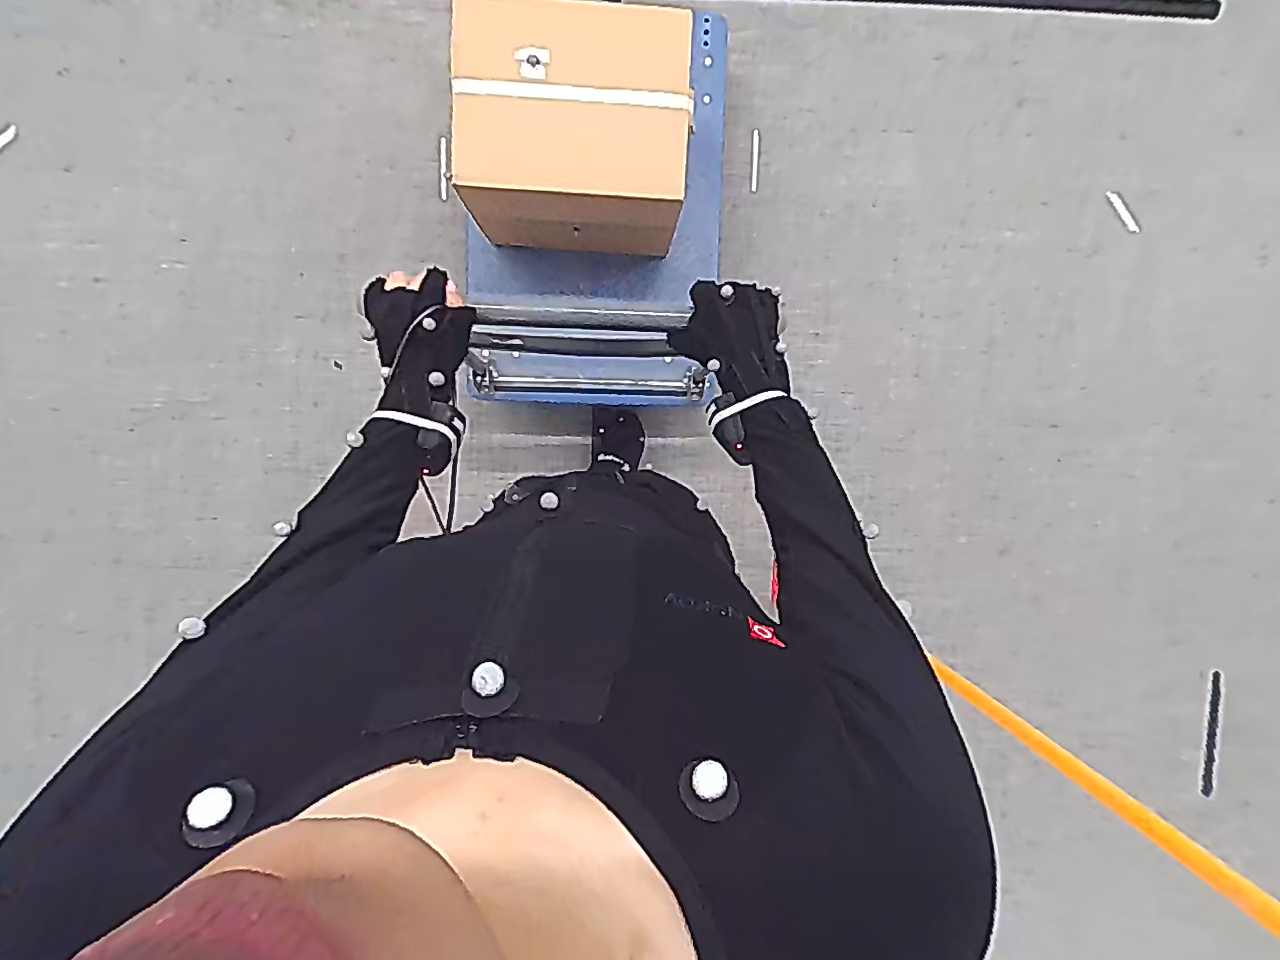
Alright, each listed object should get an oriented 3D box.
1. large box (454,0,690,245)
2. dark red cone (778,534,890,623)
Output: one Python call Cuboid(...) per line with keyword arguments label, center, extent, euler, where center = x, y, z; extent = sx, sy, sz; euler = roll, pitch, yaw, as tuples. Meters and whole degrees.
Cuboid(label="large box", center=(-0.120, -0.675, 1.070), extent=(0.408, 0.320, 0.320), euler=(2, 95, -2))
Cuboid(label="dark red cone", center=(0.487, 0.264, 1.316), extent=(0.201, 0.394, 0.202), euler=(1, 96, -5))
